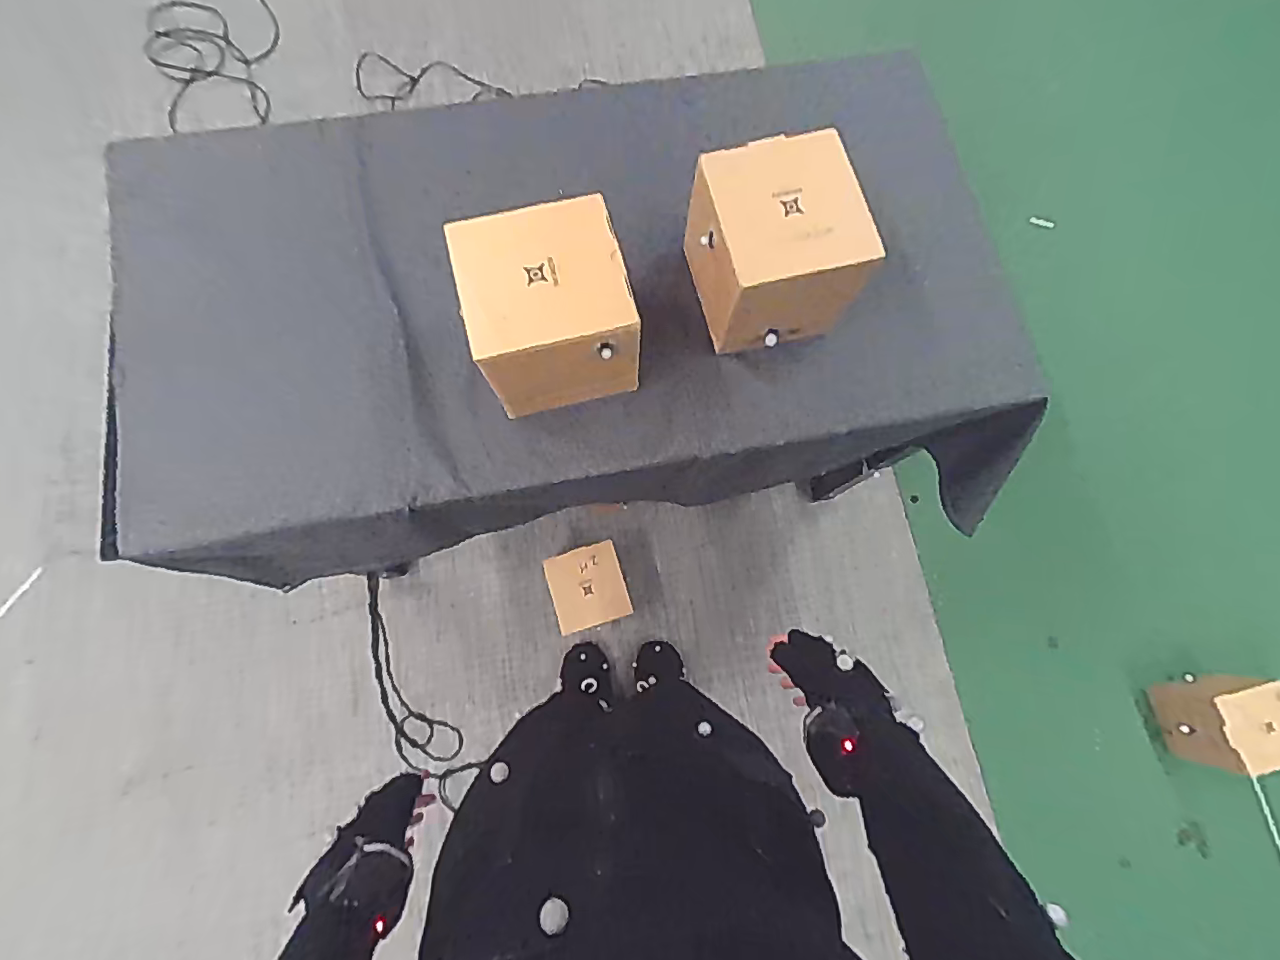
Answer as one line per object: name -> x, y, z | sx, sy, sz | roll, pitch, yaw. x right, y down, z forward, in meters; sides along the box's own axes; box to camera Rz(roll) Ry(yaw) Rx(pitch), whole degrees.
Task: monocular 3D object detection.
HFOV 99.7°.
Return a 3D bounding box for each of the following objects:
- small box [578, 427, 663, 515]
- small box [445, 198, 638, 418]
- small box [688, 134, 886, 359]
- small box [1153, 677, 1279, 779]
small box -> -0.048, -0.017, 1.342 | 0.179, 0.176, 0.168 | -12, 77, -4
small box -> -0.105, -0.188, 0.636 | 0.179, 0.176, 0.168 | -14, 77, -6
small box -> 0.163, -0.275, 0.664 | 0.168, 0.176, 0.179 | -13, 77, -4
small box -> 1.354, 0.565, 1.251 | 0.179, 0.176, 0.168 | -11, 77, -3
